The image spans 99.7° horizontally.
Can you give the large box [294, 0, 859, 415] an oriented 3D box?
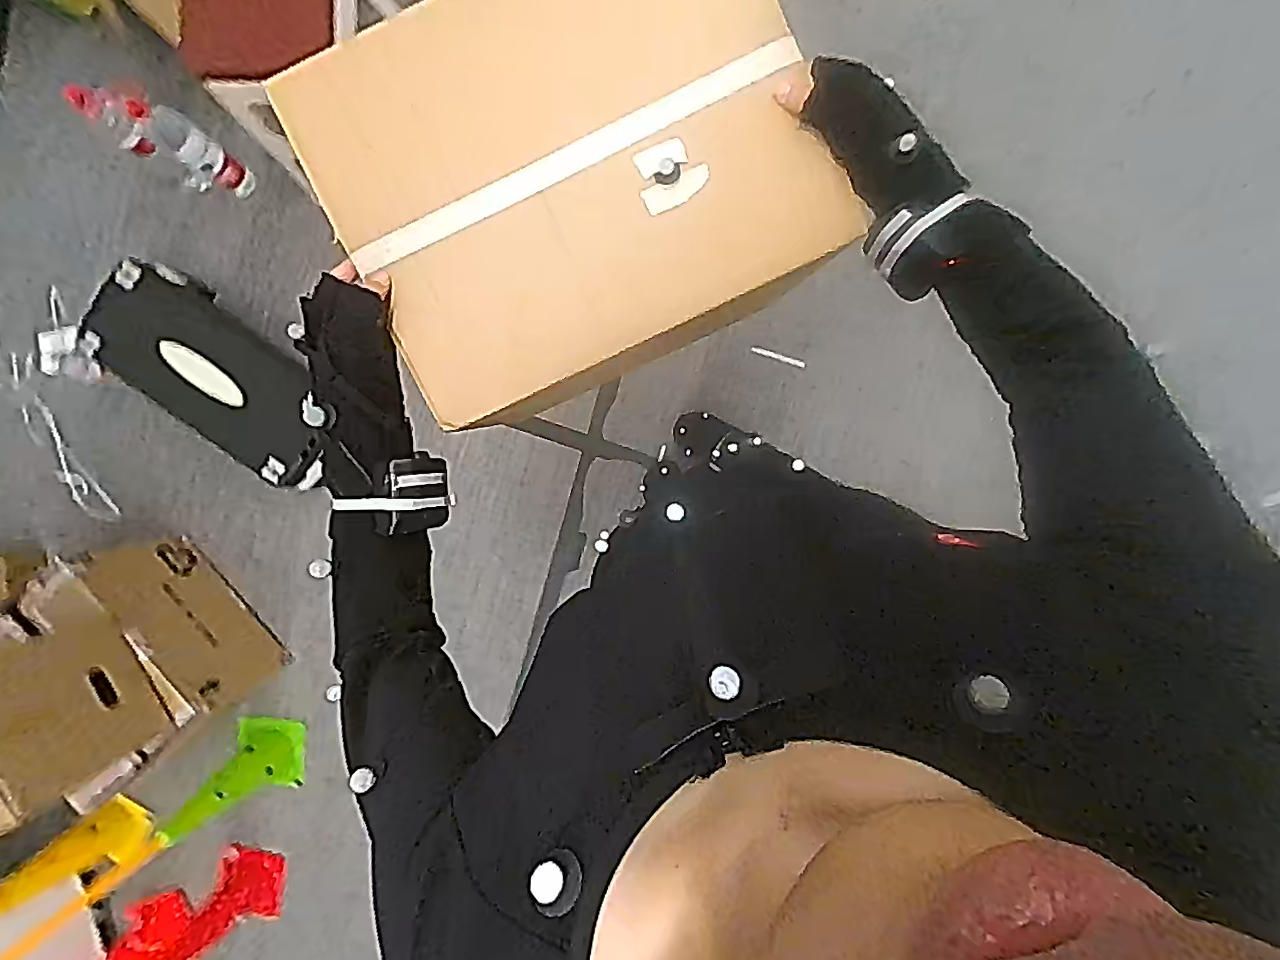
[{"bbox_3d":[-0.053,-0.292,0.605,0.408,0.320,0.320,-24,98,2],"label":"large box"}]
